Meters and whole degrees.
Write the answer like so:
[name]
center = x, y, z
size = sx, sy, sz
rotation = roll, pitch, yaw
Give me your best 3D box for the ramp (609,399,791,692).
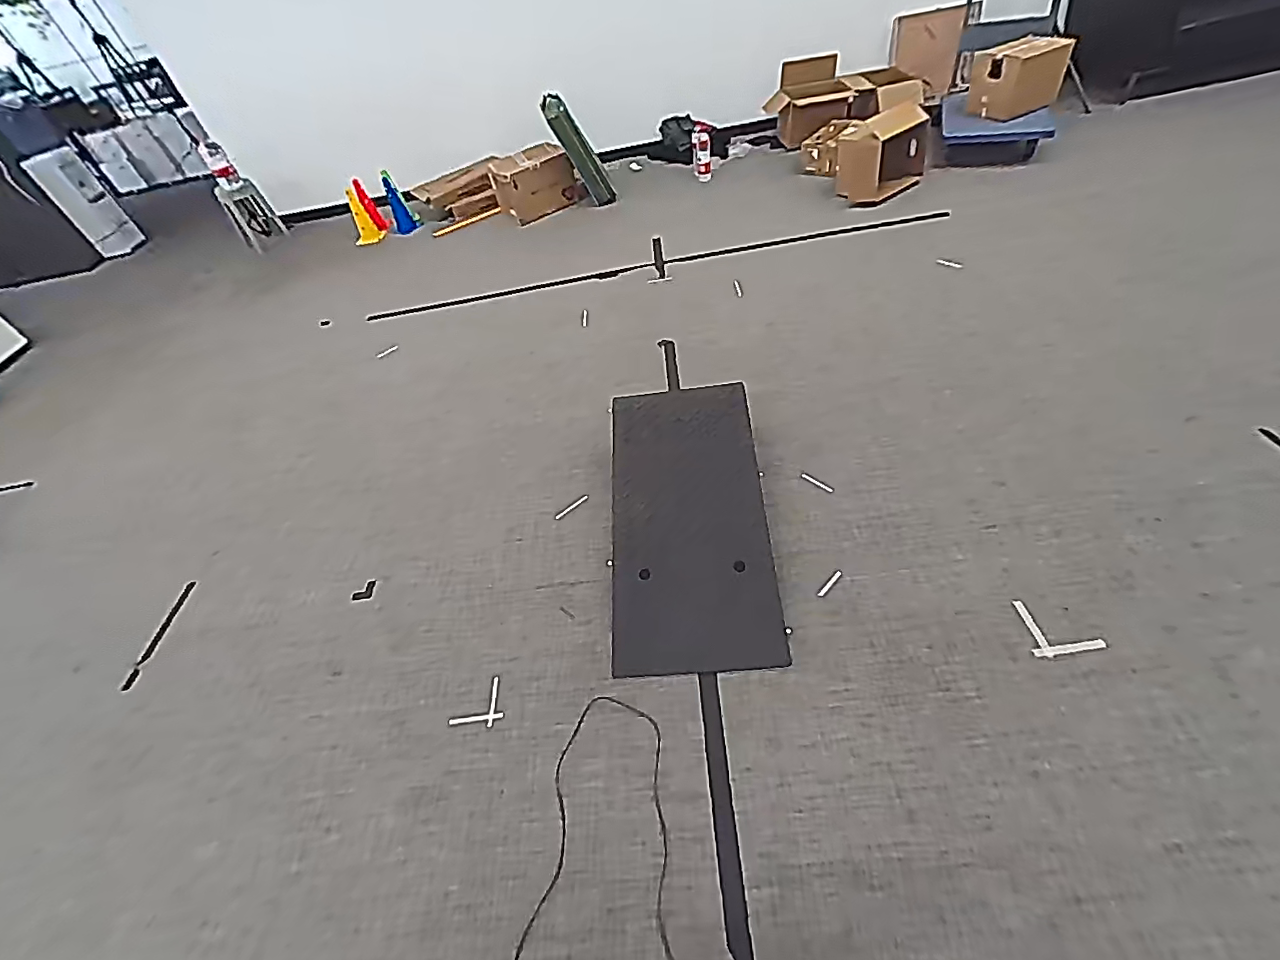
[ramp]
center = 0.149, 0.146, 1.754
size = 0.509, 0.206, 0.991
rotation = -8, 46, 4
